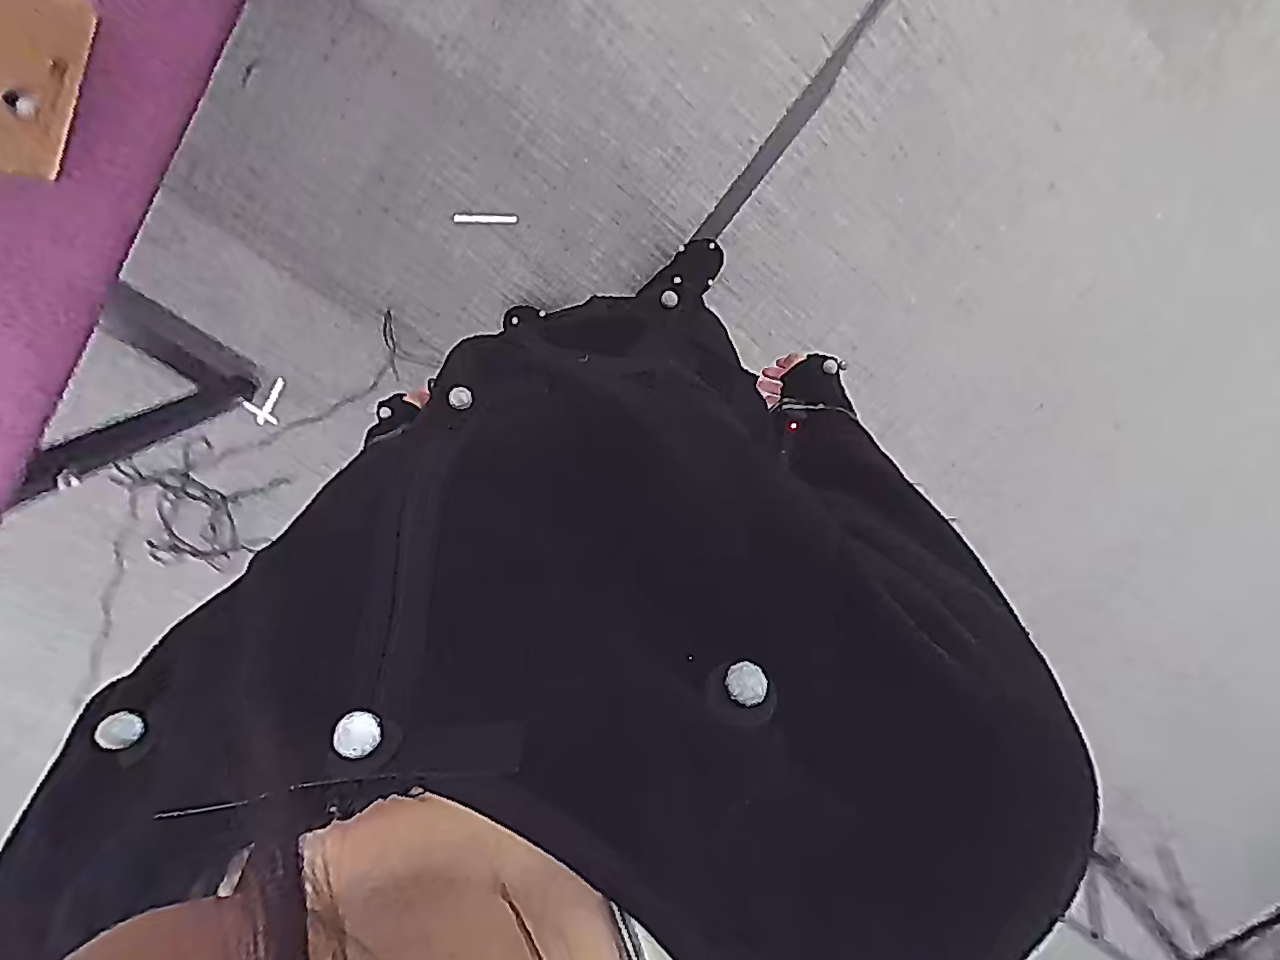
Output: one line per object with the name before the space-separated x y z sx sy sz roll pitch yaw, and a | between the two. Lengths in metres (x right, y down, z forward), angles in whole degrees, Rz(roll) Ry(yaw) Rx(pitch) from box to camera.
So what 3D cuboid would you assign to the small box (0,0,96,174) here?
small box | -0.584 -0.356 0.400 0.179 0.176 0.168 30 108 -17
